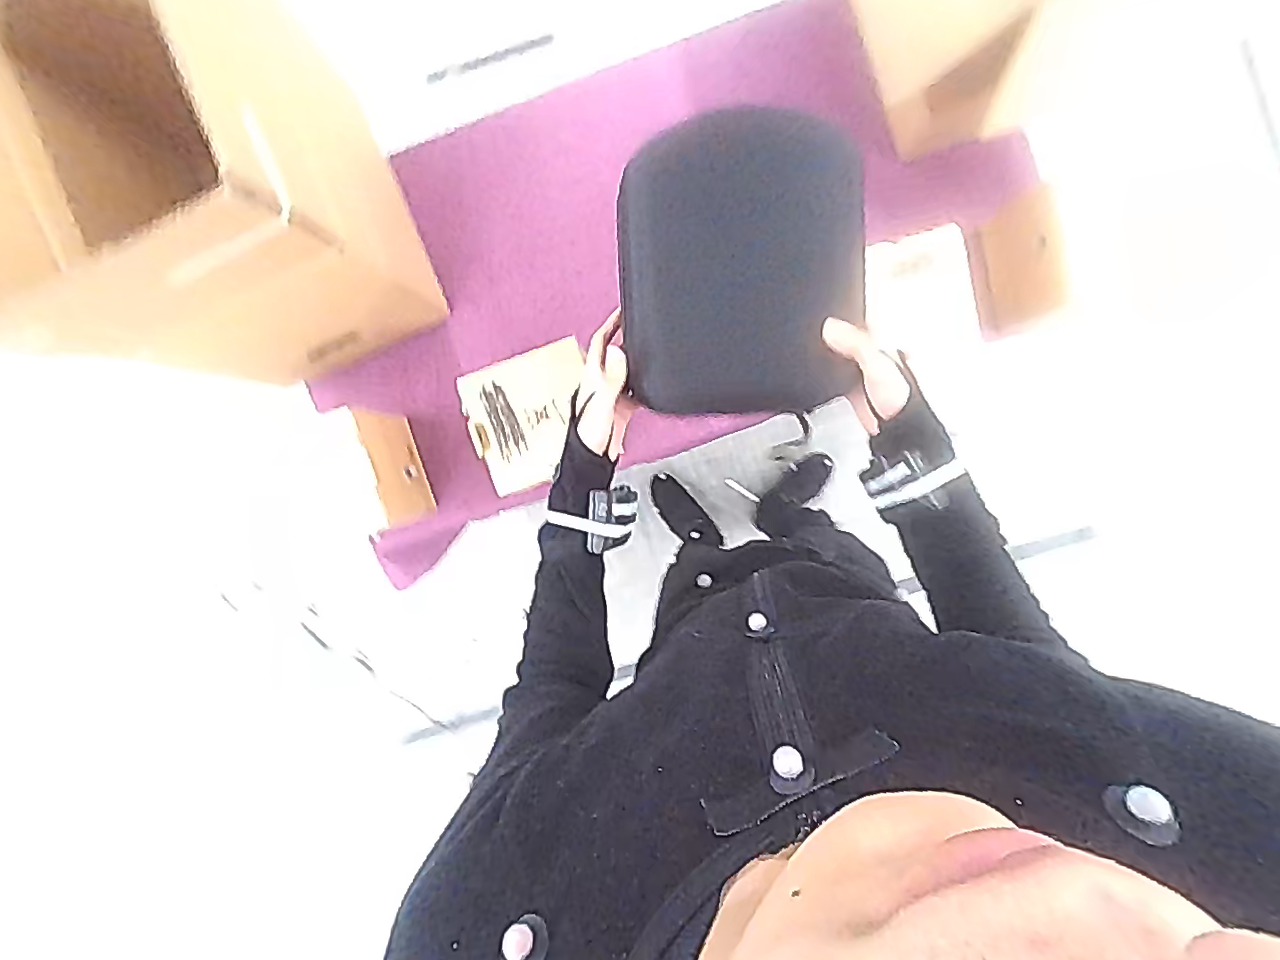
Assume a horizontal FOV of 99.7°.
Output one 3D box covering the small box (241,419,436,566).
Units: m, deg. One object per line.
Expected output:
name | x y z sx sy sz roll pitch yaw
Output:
small box | -0.447 0.017 0.829 0.179 0.176 0.168 -19 91 2

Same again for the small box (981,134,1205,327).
small box | 0.620 -0.338 0.766 0.168 0.176 0.179 -13 91 4
